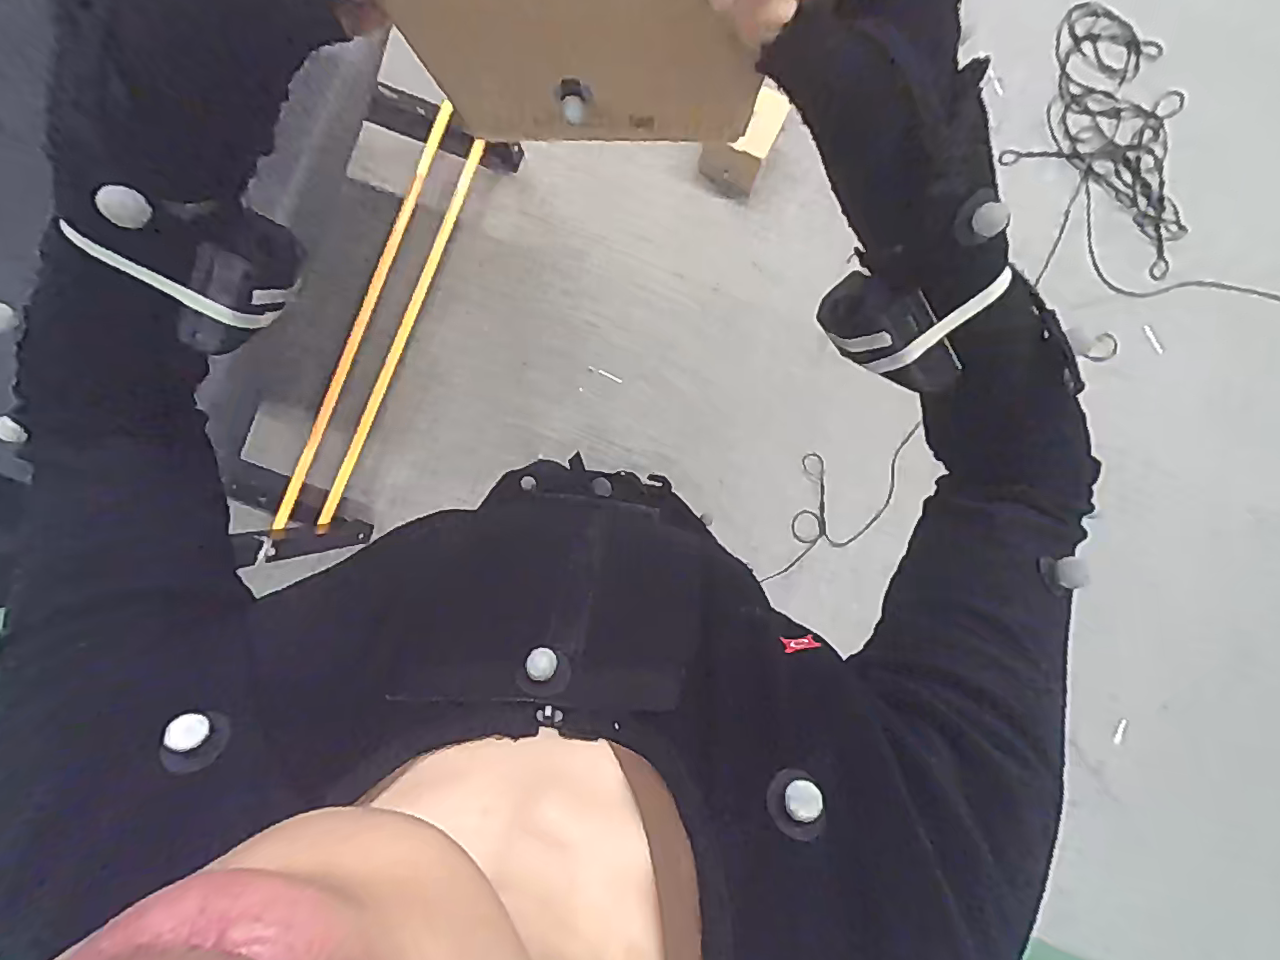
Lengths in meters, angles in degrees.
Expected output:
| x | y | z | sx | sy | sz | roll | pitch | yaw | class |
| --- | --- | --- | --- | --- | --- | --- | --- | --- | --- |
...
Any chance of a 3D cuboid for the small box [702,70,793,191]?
| x | y | z | sx | sy | sz | roll | pitch | yaw | class |
| --- | --- | --- | --- | --- | --- | --- | --- | --- | --- |
| 0.275 | -0.921 | 1.439 | 0.168 | 0.176 | 0.179 | 27 | 89 | 1 | small box |
